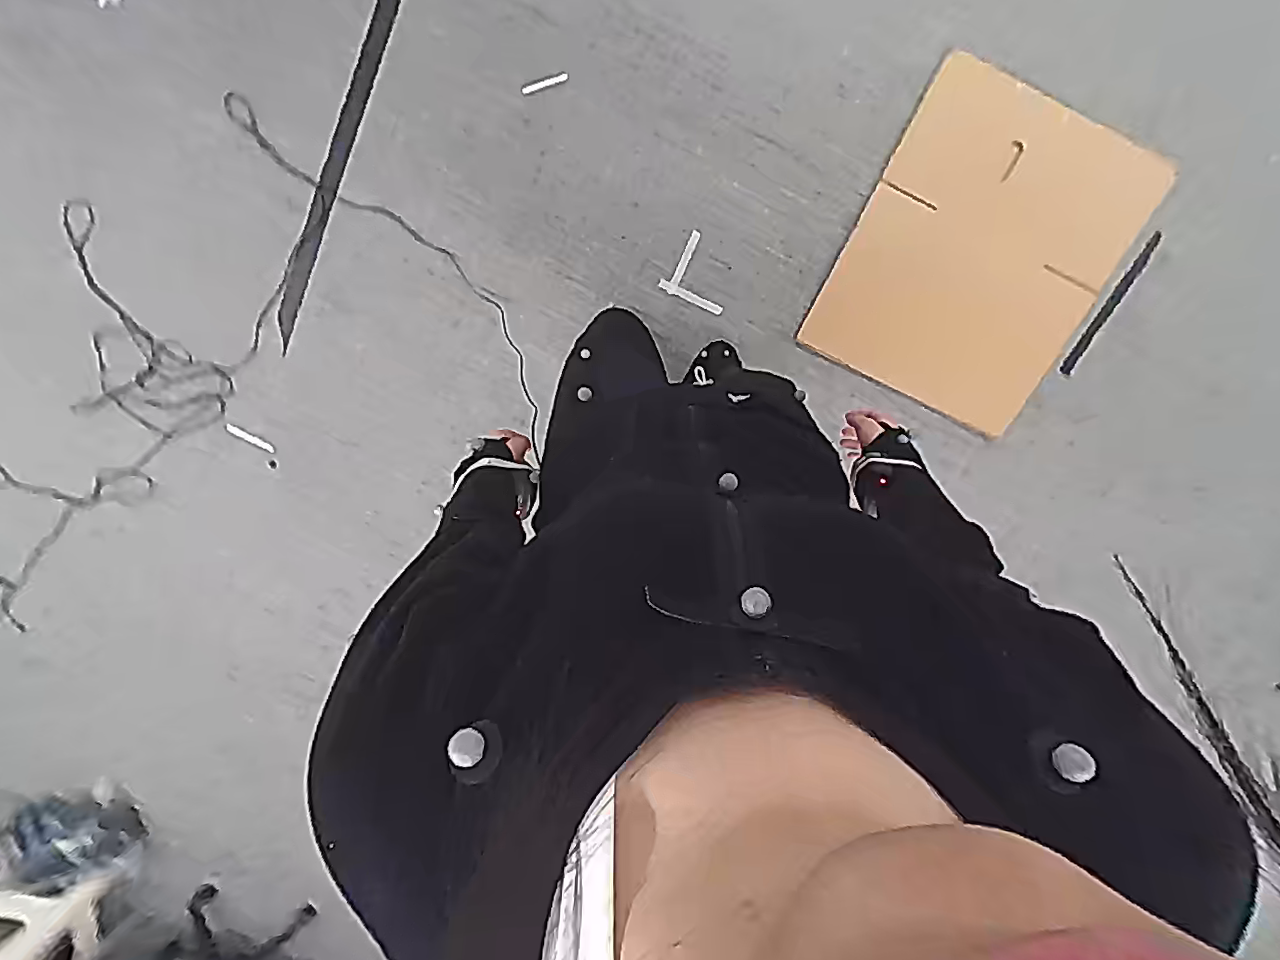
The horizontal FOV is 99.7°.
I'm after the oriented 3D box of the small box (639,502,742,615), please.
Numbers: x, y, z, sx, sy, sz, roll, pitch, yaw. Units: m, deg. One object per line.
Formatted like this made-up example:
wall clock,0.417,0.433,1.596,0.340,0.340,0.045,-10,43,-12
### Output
small box,0.103,0.157,1.138,0.179,0.176,0.168,-14,103,8
